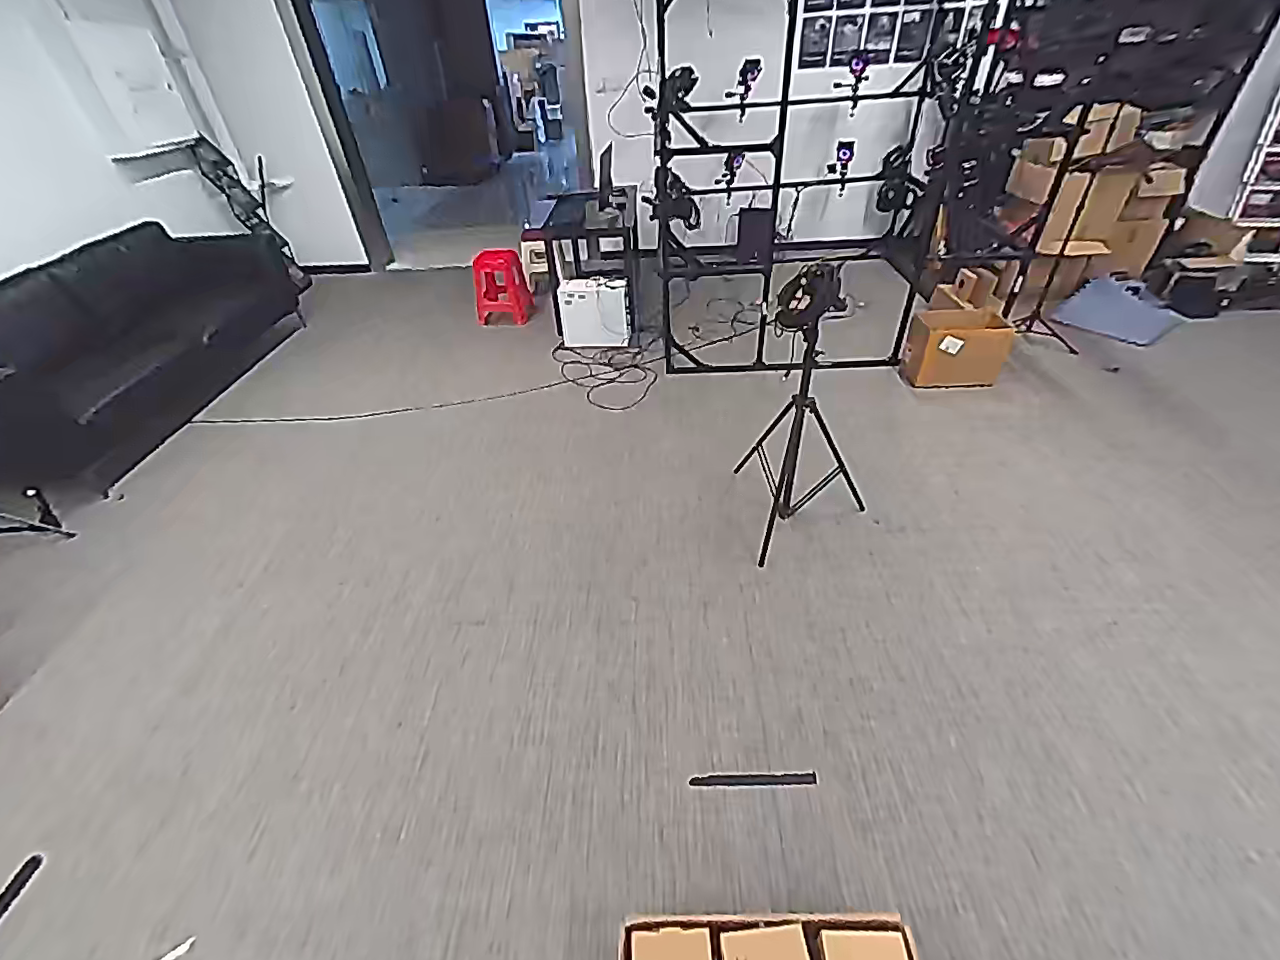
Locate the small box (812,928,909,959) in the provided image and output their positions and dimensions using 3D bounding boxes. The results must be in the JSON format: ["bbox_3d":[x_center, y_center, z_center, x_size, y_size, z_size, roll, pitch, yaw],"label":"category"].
[{"bbox_3d":[0.459,1.046,1.104,0.168,0.176,0.179,-3,42,4],"label":"small box"}]
